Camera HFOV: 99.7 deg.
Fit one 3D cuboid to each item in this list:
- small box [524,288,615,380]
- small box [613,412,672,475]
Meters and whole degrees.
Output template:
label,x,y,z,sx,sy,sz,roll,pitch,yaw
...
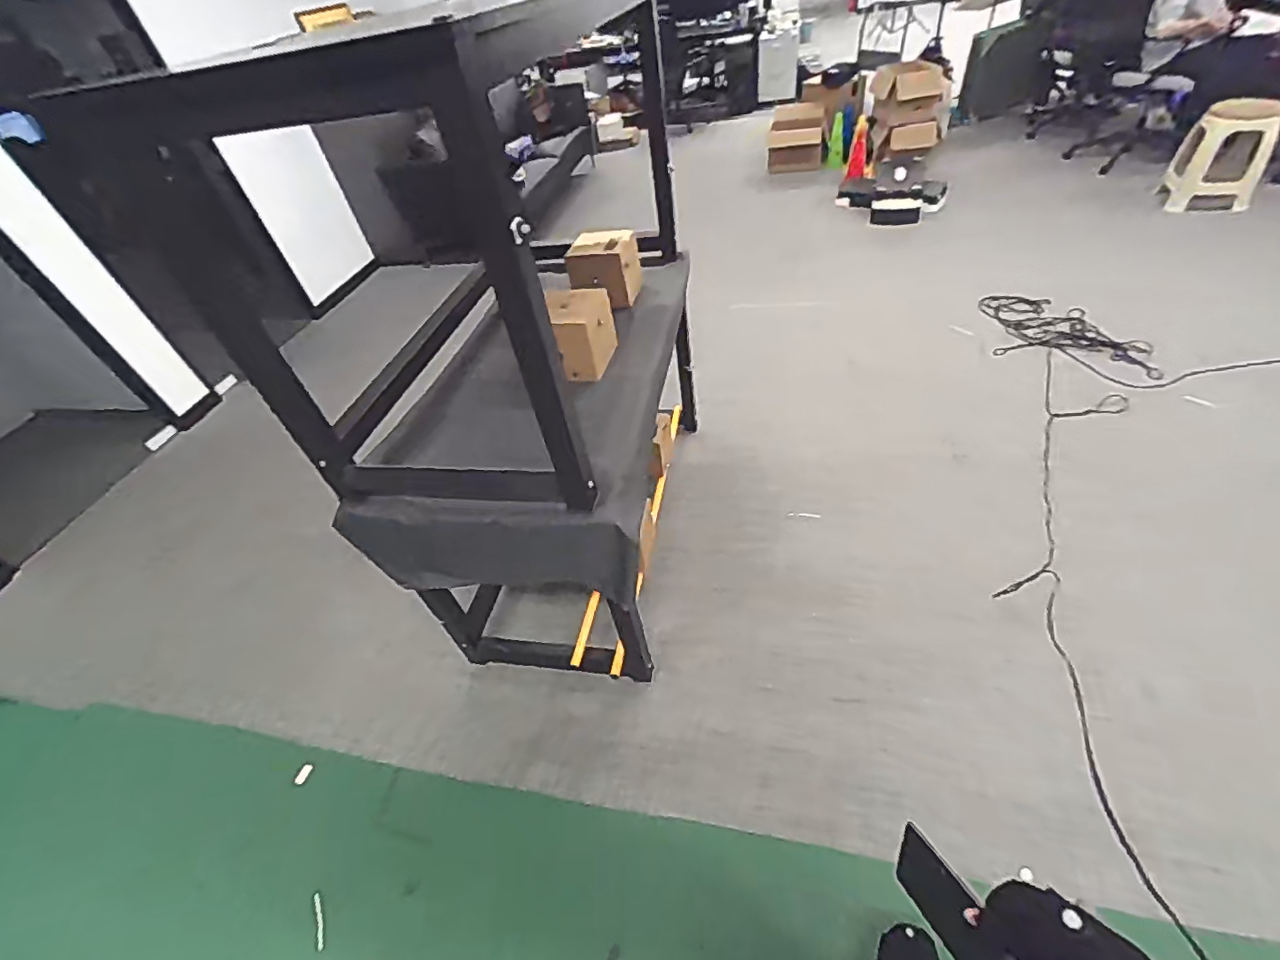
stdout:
label,x,y,z,sx,sy,sz,roll,pitch,yaw
small box,-0.172,-0.372,1.387,0.168,0.176,0.179,4,46,16
small box,0.015,-0.133,2.004,0.179,0.176,0.168,5,46,16
